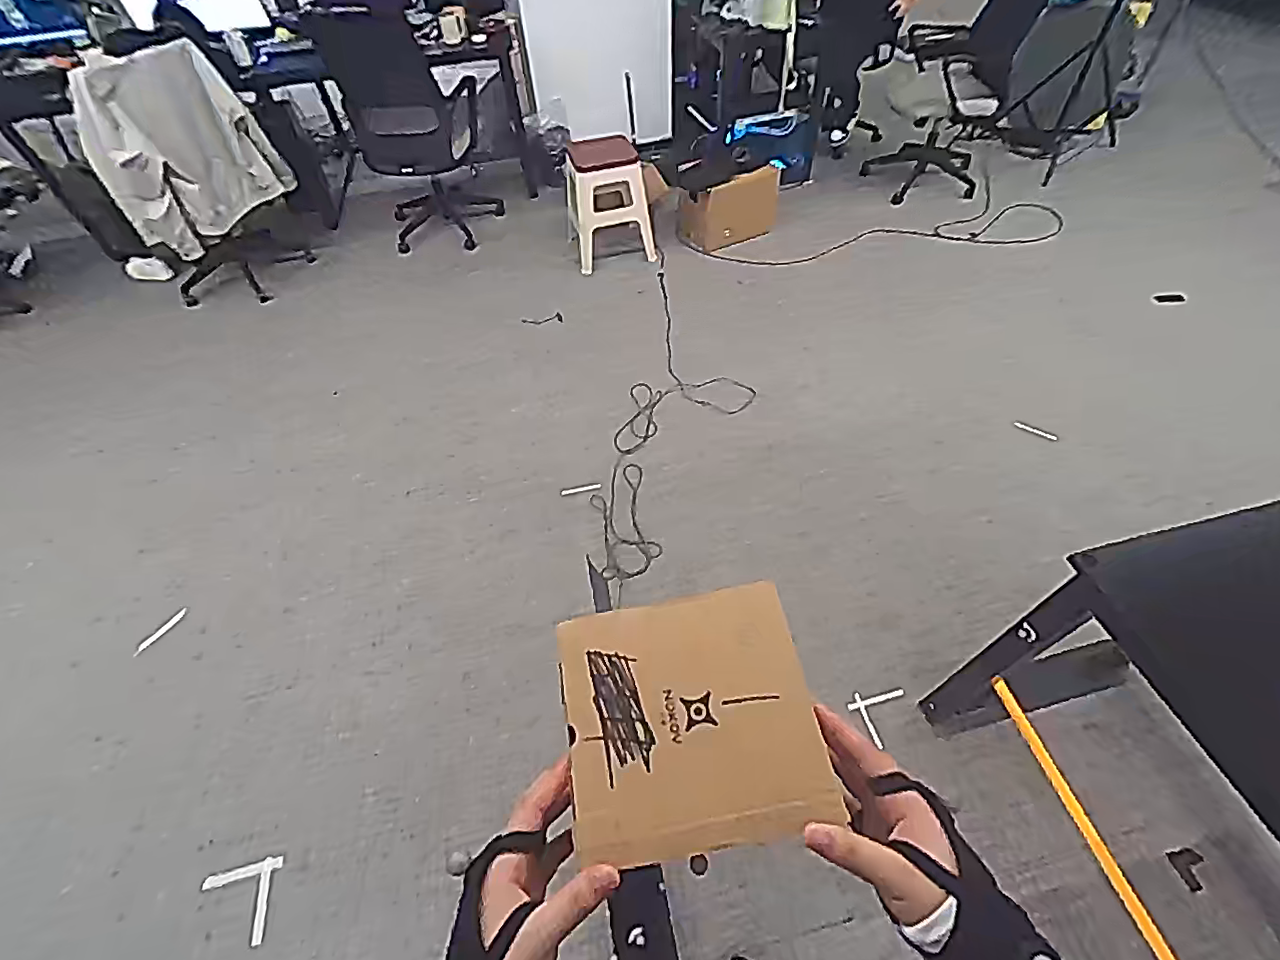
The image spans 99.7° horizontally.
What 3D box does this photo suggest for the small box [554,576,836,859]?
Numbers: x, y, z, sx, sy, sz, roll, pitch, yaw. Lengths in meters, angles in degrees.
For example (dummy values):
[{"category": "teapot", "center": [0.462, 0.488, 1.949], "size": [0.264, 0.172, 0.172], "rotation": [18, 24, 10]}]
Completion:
[{"category": "small box", "center": [0.037, 0.200, 0.453], "size": [0.179, 0.176, 0.168], "rotation": [-11, 59, -1]}]
